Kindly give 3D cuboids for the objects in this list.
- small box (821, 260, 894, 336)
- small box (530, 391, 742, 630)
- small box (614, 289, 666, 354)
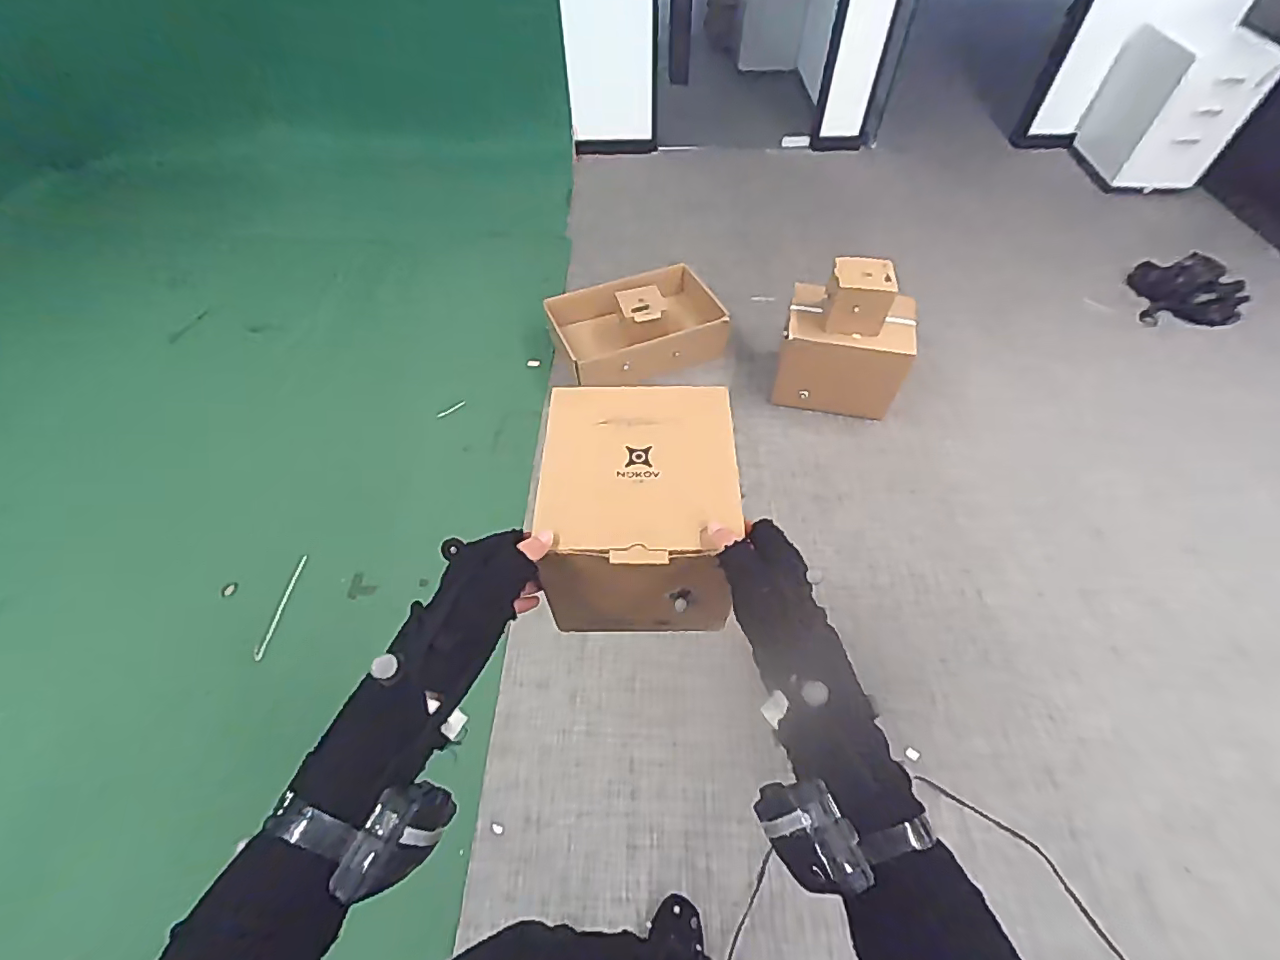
[{"bbox_3d":[0.684,-0.577,1.725,0.179,0.176,0.168,5,54,6],"label":"small box"},{"bbox_3d":[-0.001,0.035,0.520,0.168,0.176,0.179,0,53,0],"label":"small box"},{"bbox_3d":[0.004,-0.607,2.091,0.168,0.176,0.179,-14,53,-8],"label":"small box"}]
